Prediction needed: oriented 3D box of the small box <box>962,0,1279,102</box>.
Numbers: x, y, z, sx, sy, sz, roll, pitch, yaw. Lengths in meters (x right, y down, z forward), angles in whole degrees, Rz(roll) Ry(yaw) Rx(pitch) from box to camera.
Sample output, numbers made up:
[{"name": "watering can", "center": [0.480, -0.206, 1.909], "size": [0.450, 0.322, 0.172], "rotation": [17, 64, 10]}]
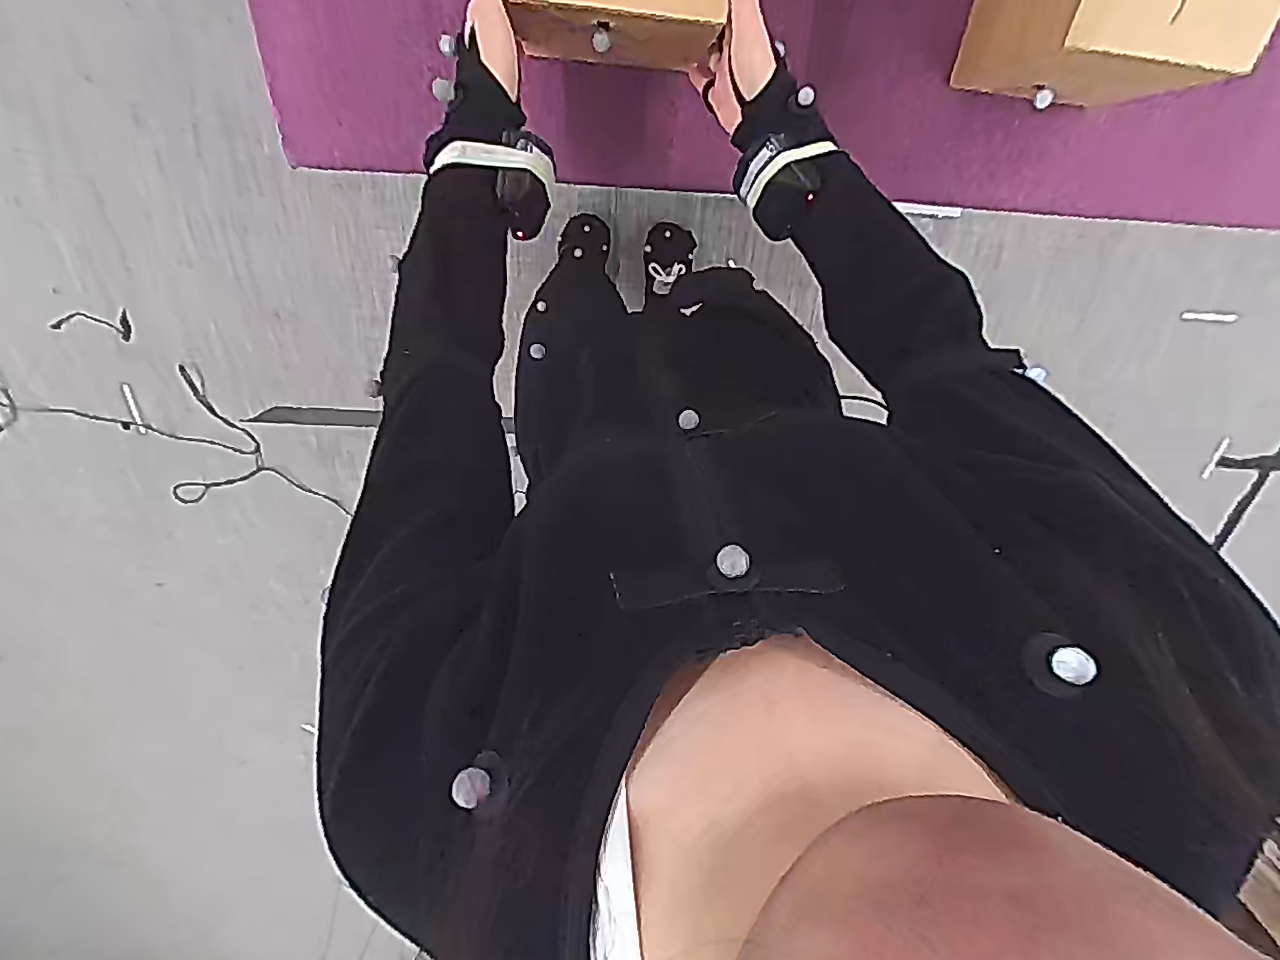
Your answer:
[{"name": "small box", "center": [0.418, -0.452, 0.462], "size": [0.168, 0.176, 0.179], "rotation": [4, 117, -5]}]
